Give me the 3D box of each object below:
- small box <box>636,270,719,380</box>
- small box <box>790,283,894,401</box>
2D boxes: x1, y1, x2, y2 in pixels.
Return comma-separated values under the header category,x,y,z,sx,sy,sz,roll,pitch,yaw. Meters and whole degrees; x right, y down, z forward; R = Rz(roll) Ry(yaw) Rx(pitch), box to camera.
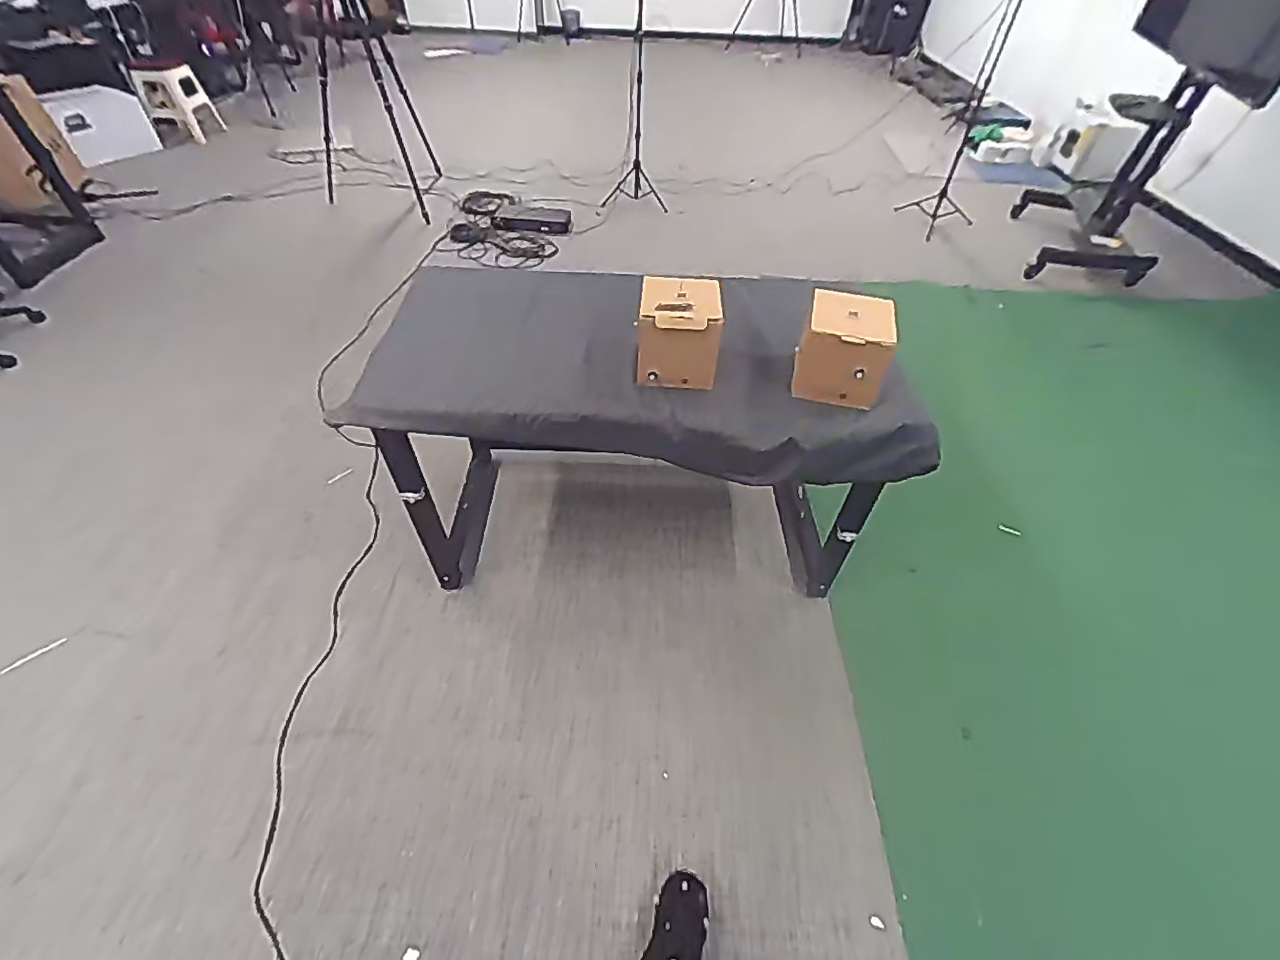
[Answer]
category,x,y,z,sx,sy,sz,roll,pitch,yaw
small box,0.079,-0.333,1.173,0.168,0.176,0.179,3,47,0
small box,0.423,-0.292,1.152,0.168,0.176,0.179,12,47,8
